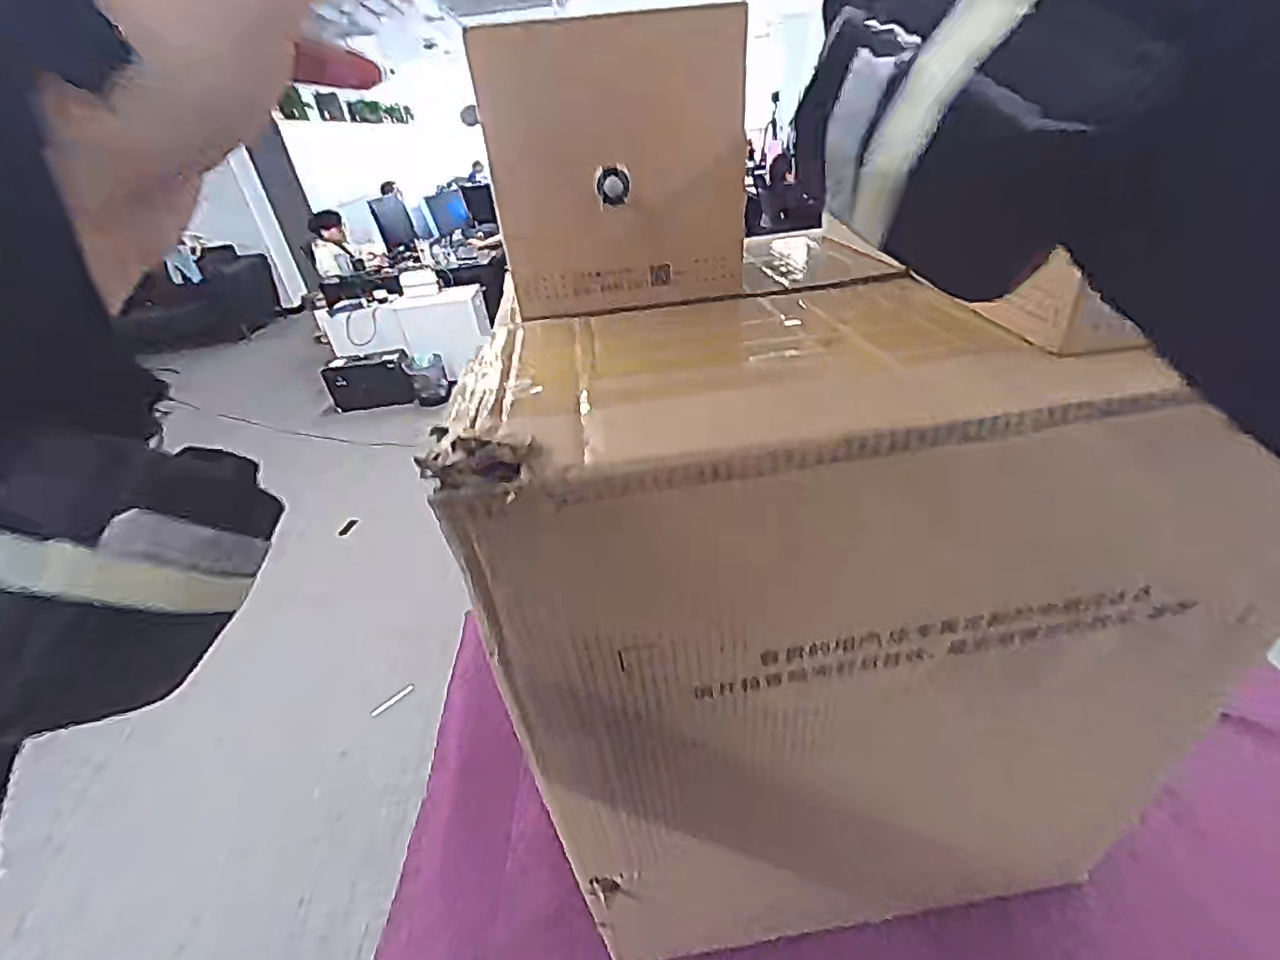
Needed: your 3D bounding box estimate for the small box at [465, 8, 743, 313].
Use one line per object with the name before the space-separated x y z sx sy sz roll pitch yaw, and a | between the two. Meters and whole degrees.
small box | -0.020 -0.234 0.420 0.168 0.176 0.179 -7 34 -2
